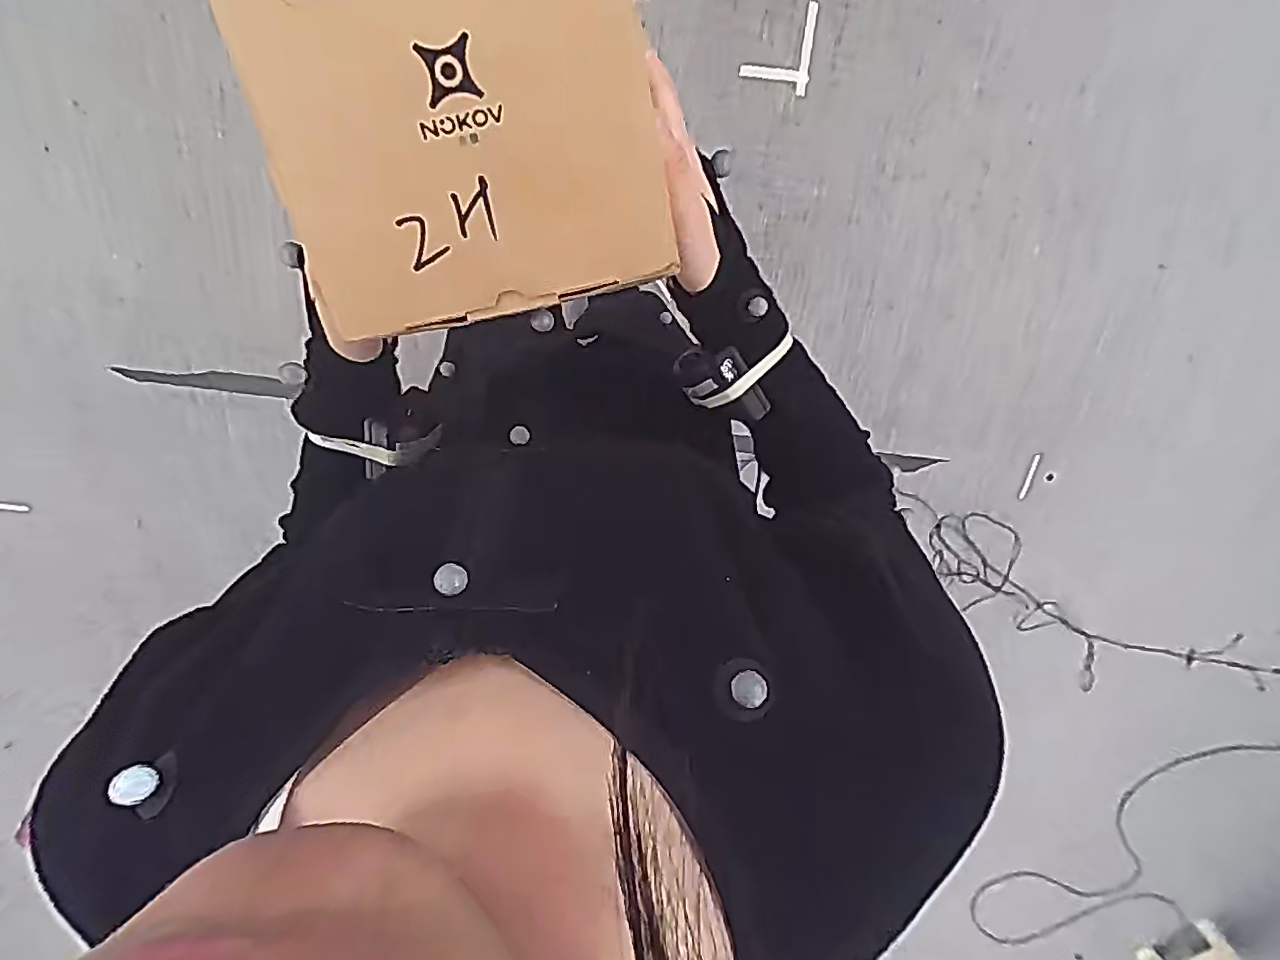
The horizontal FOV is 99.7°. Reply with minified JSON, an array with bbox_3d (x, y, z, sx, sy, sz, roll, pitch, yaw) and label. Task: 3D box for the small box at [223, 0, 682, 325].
[{"bbox_3d":[-0.081,-0.192,0.301,0.168,0.176,0.179,-13,109,1],"label":"small box"}]
